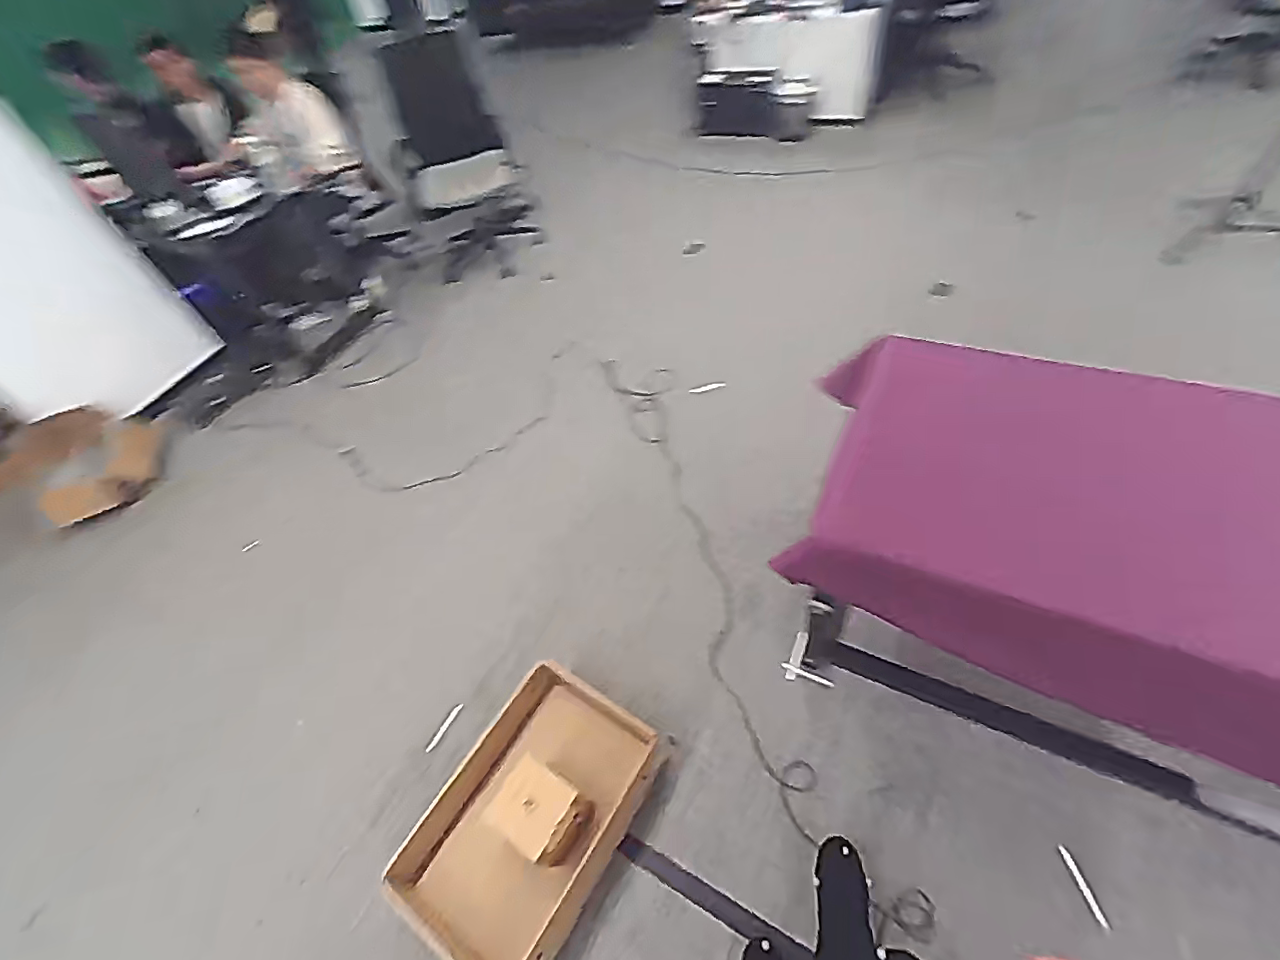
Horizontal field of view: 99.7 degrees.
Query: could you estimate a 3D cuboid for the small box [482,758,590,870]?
[{"bbox_3d":[-0.246,0.822,1.329,0.179,0.176,0.168,23,59,27],"label":"small box"}]
